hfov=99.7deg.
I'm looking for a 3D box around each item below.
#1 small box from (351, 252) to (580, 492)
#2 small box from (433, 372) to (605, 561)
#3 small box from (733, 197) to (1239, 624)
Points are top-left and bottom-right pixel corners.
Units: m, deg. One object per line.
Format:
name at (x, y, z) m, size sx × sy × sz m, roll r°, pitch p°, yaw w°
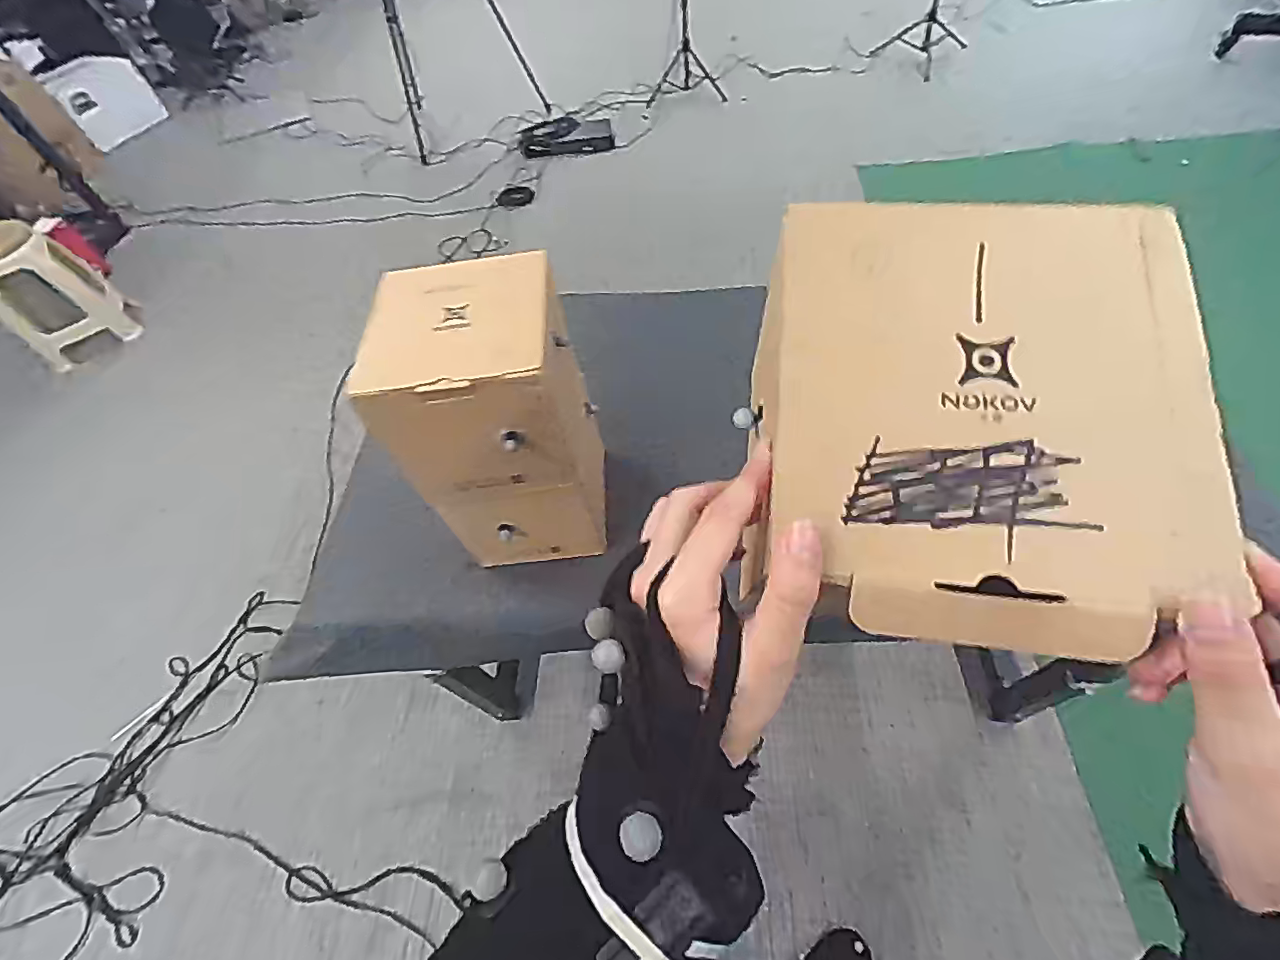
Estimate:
small box at (-0.155, -0.100, 0.552) m, size 0.168 × 0.176 × 0.179 m, roll -6°, pitch 53°, yaw 1°
small box at (-0.137, -0.008, 0.685) m, size 0.168 × 0.176 × 0.179 m, roll -6°, pitch 54°, yaw 3°
small box at (0.141, -0.020, 0.294) m, size 0.168 × 0.176 × 0.179 m, roll 4°, pitch 73°, yaw 7°
